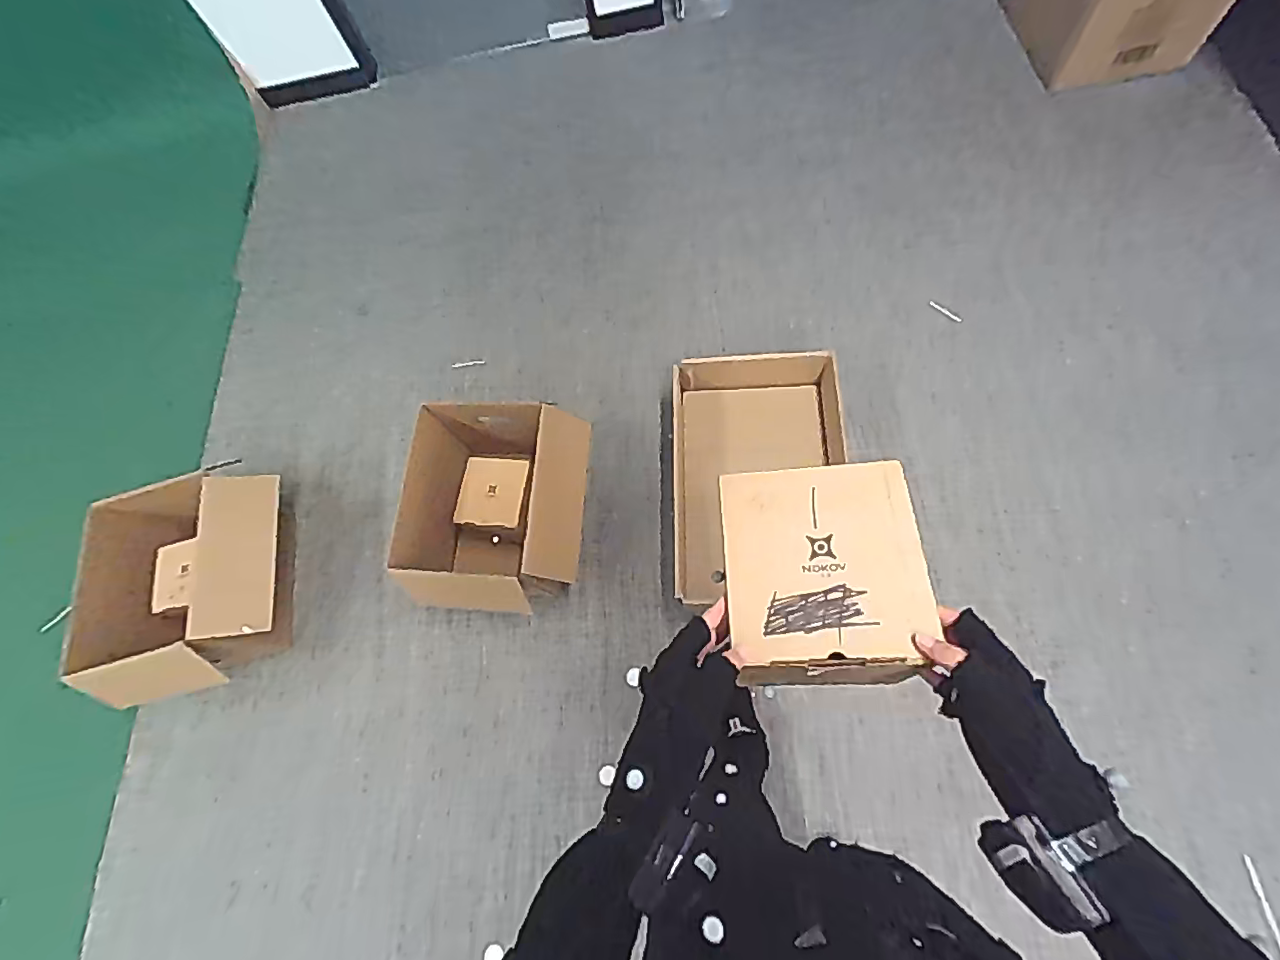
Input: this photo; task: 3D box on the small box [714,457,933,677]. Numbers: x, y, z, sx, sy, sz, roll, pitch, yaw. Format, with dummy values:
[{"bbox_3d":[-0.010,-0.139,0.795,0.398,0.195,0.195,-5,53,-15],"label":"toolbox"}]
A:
[{"bbox_3d":[0.165,0.097,0.539,0.168,0.176,0.179,-4,62,9],"label":"small box"}]
